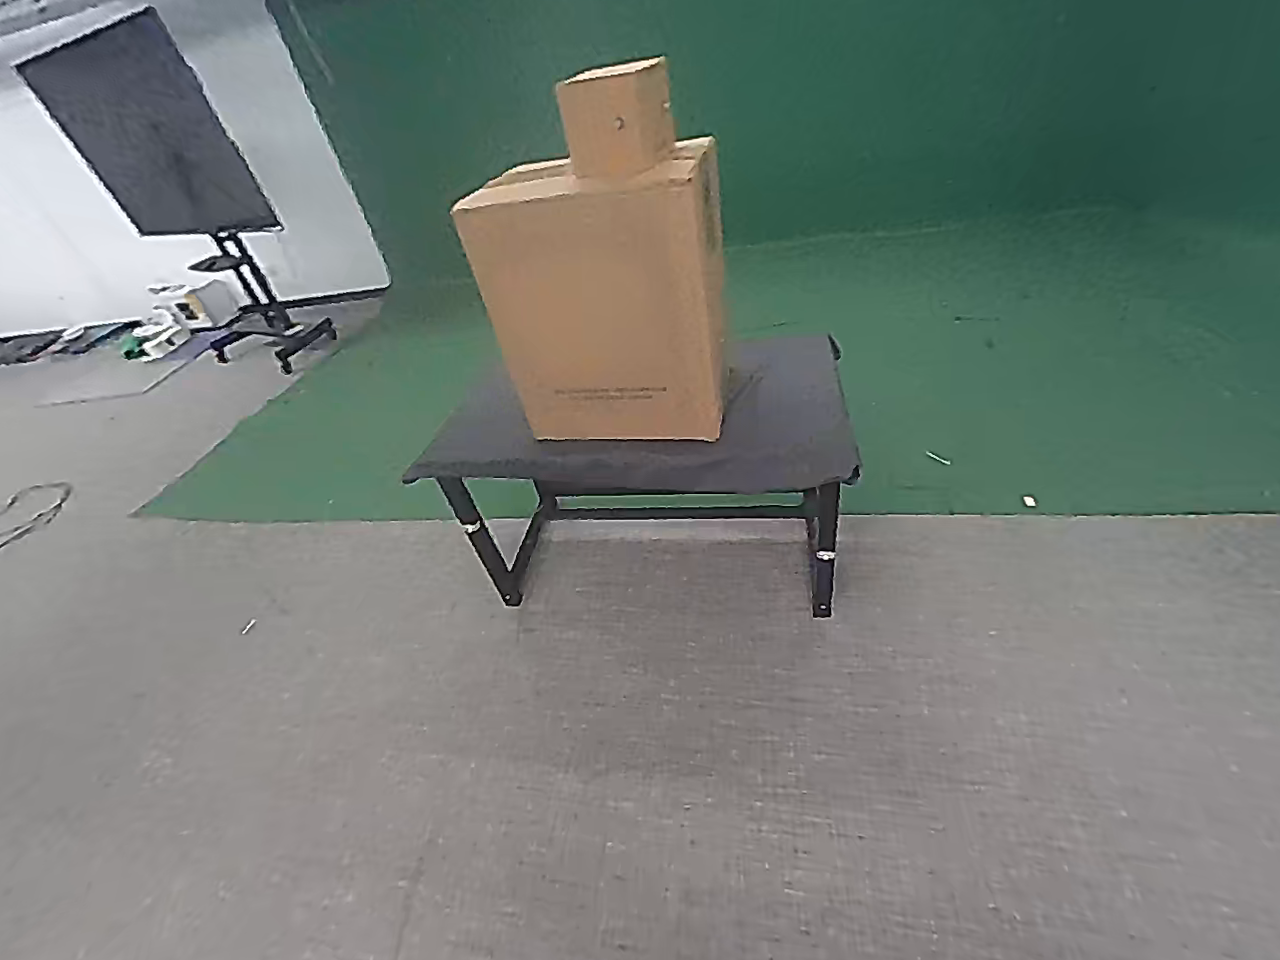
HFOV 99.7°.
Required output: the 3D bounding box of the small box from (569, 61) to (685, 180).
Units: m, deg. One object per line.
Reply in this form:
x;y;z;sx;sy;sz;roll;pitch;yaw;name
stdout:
-0.017;-0.751;1.137;0.179;0.176;0.168;9;45;25;small box
